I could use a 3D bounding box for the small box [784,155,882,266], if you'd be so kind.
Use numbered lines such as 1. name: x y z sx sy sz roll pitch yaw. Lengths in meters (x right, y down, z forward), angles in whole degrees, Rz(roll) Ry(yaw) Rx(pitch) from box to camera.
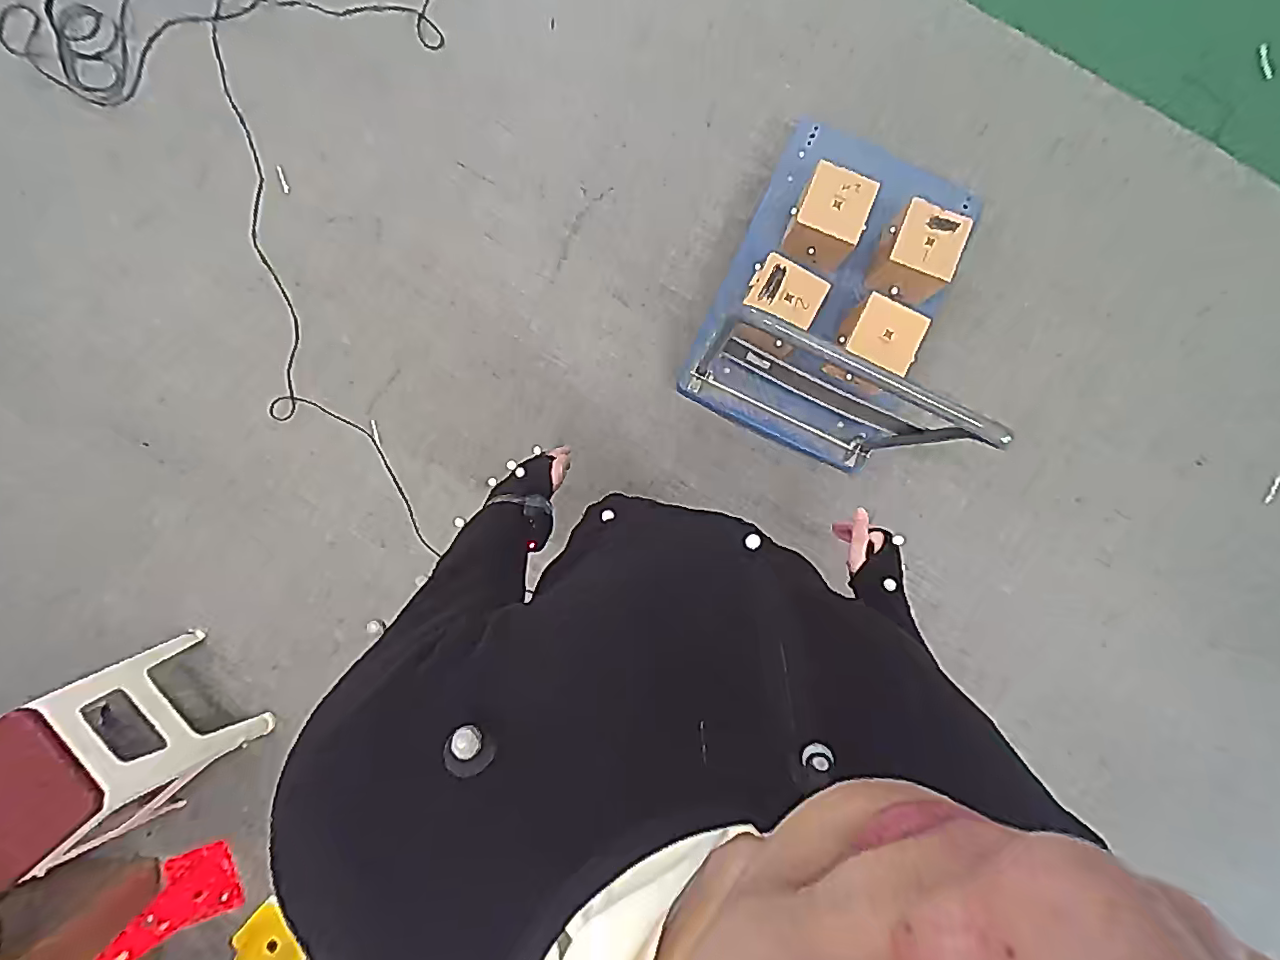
1. small box: 0.498 -0.700 1.428 0.168 0.176 0.179 23 88 -1

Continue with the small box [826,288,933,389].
1. small box: 0.617 -0.362 1.418 0.168 0.176 0.179 27 88 0

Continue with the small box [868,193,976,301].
1. small box: 0.734 -0.606 1.427 0.168 0.176 0.179 22 89 1
